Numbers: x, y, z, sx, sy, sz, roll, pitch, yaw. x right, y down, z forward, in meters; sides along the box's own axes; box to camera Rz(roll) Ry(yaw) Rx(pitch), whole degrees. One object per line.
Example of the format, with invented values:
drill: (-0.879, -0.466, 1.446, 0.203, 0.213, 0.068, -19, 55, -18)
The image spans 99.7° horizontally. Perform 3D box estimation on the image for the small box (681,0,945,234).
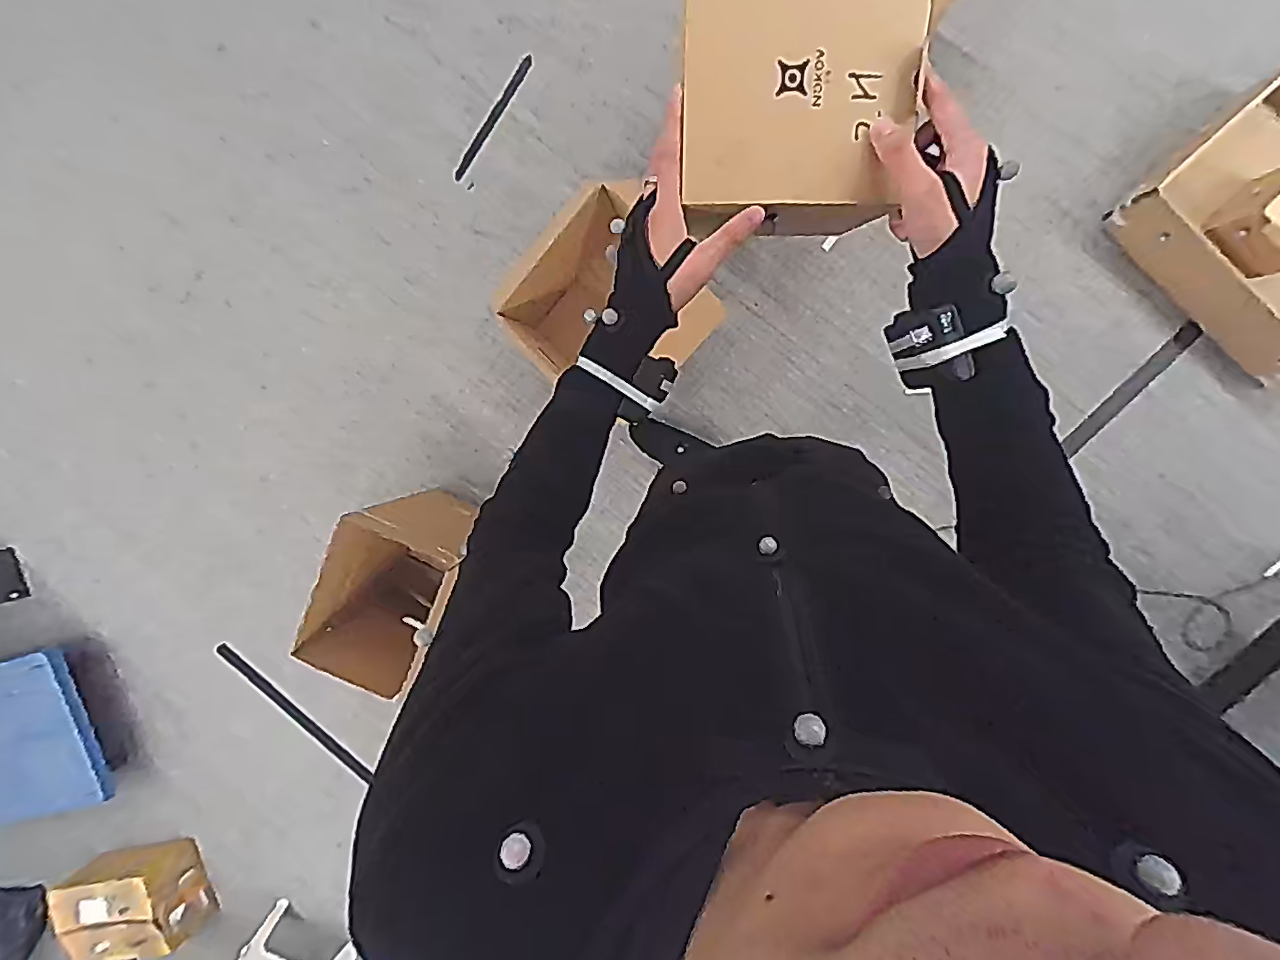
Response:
small box: (0.126, -0.311, 0.465, 0.179, 0.176, 0.168, 1, 107, 1)
